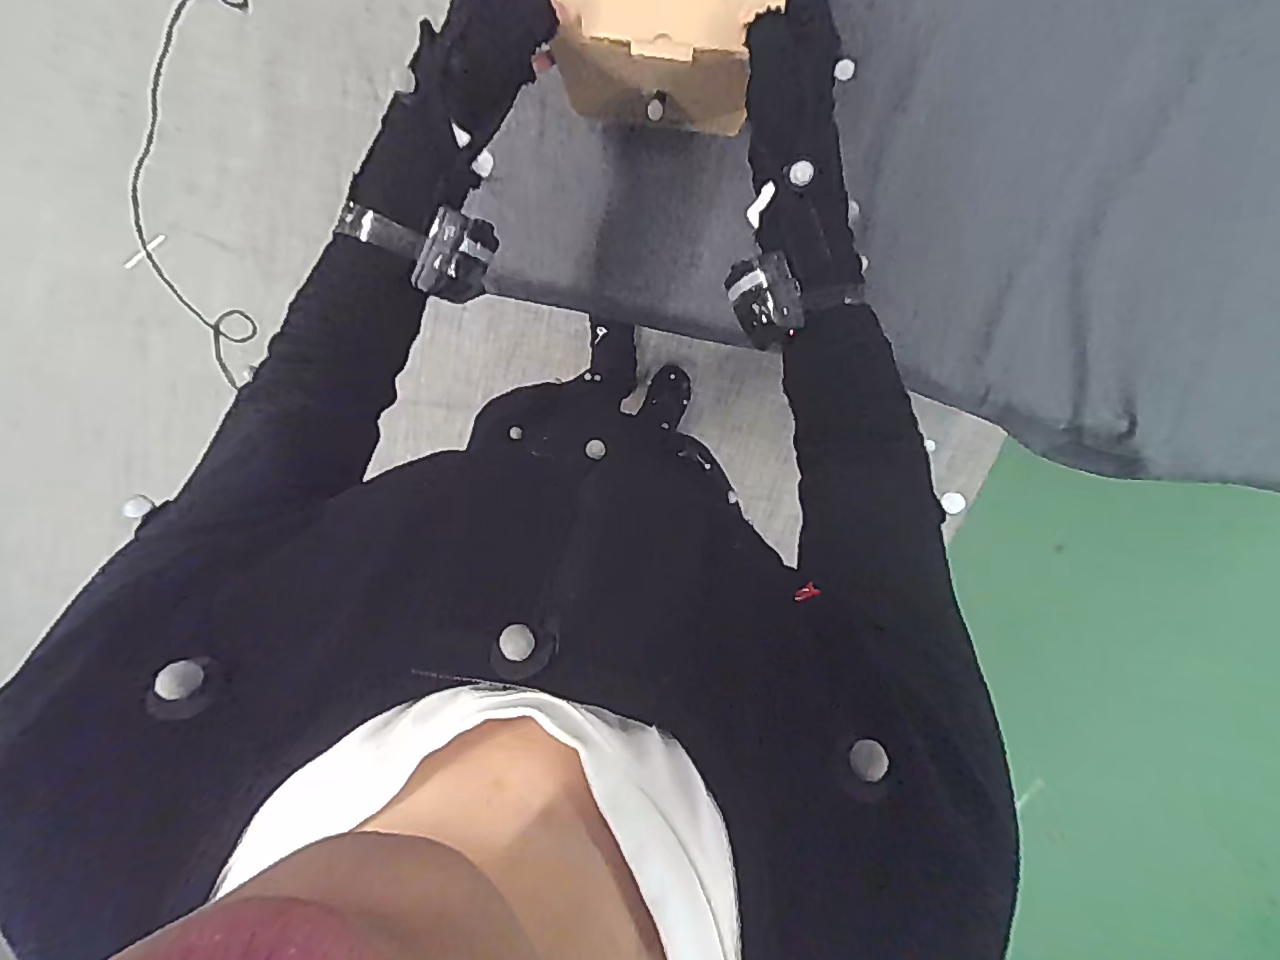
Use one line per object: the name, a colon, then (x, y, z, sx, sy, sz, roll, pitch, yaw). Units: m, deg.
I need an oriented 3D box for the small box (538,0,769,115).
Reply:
small box: (0.019, -0.421, 0.435, 0.168, 0.176, 0.179, 6, 108, -1)
